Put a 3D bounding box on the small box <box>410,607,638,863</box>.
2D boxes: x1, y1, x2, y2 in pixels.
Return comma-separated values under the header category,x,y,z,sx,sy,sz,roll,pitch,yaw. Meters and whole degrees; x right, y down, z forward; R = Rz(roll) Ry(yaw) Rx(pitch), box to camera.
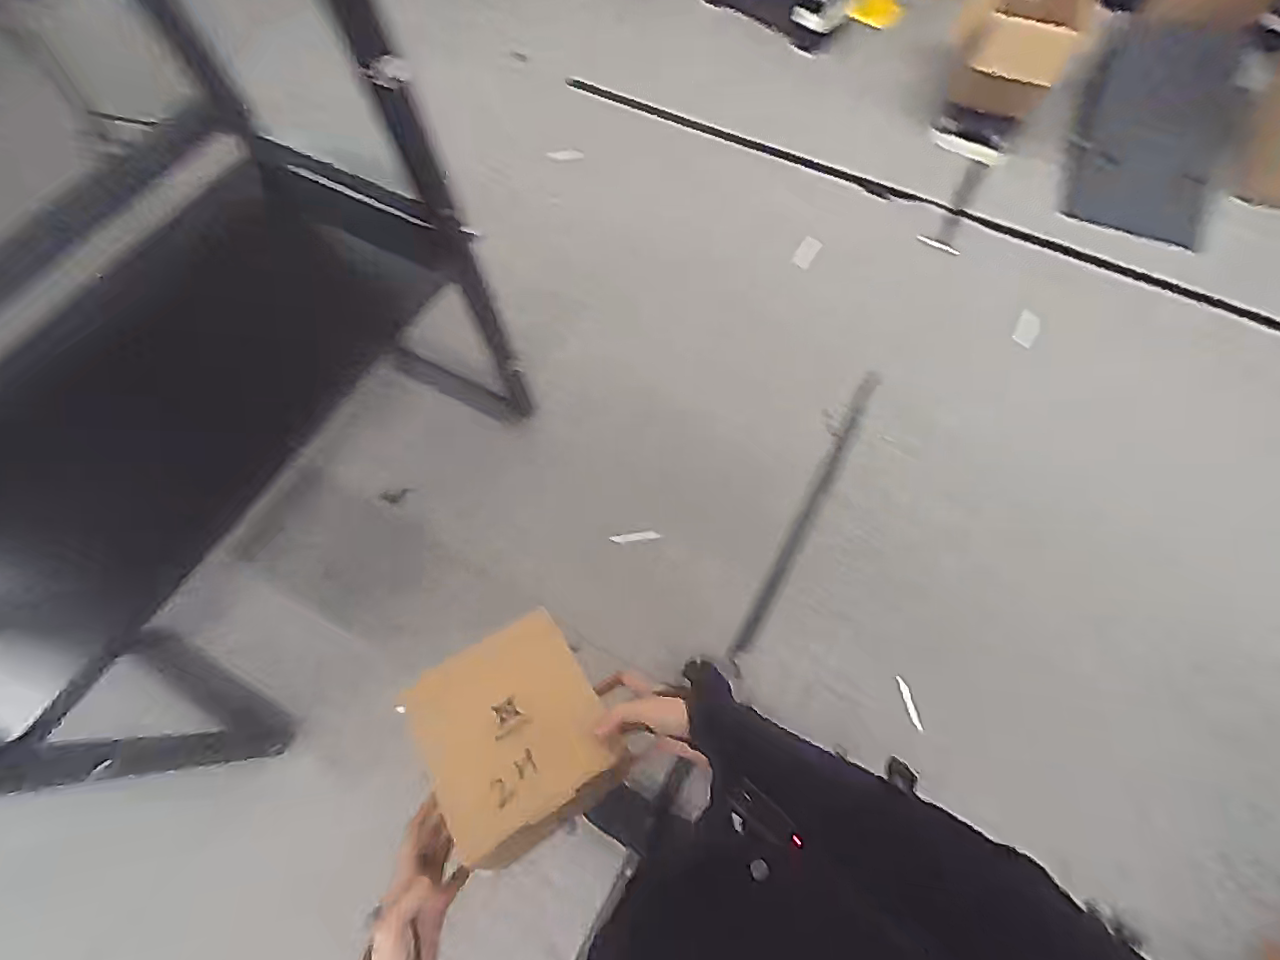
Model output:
category,x,y,z,sx,sy,sz,roll,pitch,yaw
small box,-0.116,0.275,0.581,0.168,0.176,0.179,-28,60,-18
